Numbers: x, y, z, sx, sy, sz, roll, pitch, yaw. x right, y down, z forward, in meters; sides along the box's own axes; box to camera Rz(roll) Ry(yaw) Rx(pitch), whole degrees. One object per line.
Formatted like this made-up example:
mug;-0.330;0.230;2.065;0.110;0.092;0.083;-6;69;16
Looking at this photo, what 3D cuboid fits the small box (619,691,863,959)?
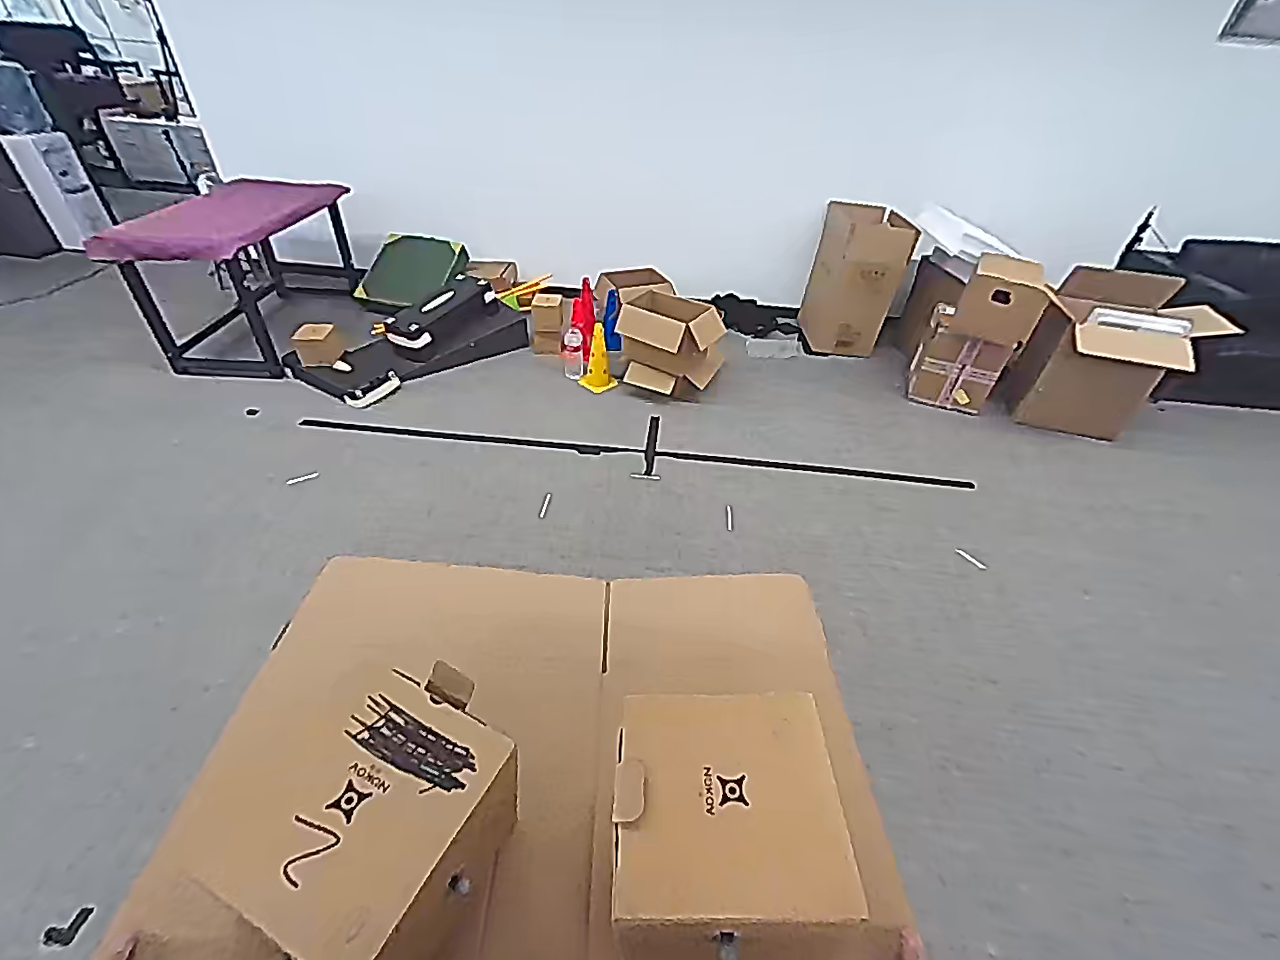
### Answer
small box;0.076;0.312;0.493;0.179;0.176;0.168;-3;39;3
